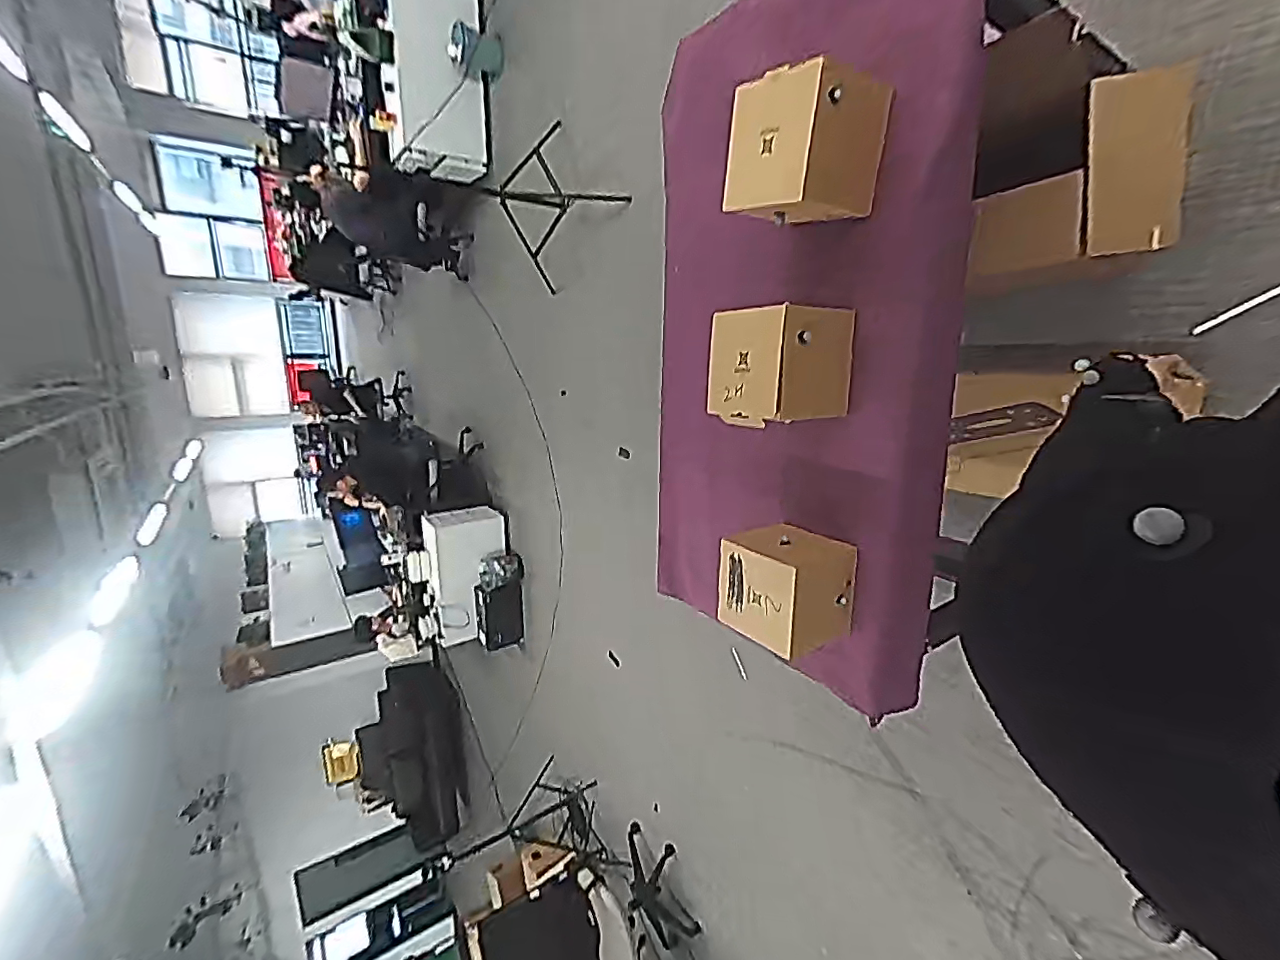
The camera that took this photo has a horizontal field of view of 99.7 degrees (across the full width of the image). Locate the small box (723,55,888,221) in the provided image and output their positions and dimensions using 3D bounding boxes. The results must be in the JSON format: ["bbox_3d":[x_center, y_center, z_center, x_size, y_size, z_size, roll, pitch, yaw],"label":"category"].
[{"bbox_3d":[0.251,-0.504,0.830,0.168,0.176,0.179,27,119,51],"label":"small box"}]

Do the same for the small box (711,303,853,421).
[{"bbox_3d":[0.239,-0.198,0.918,0.168,0.176,0.179,18,113,56],"label":"small box"}]
